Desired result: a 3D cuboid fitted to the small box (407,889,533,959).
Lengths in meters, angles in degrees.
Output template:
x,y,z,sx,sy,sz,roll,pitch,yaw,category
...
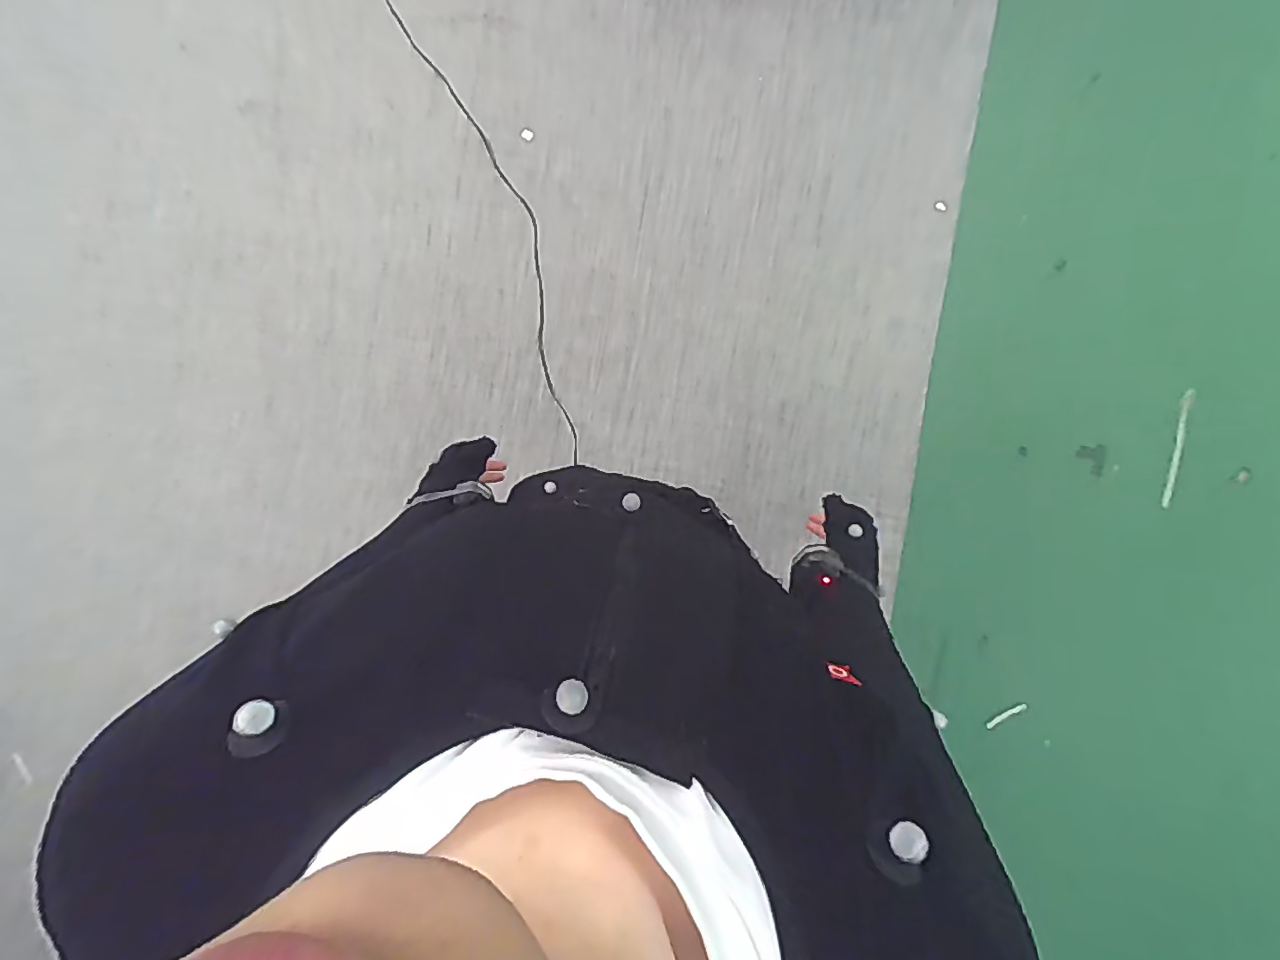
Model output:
x,y,z,sx,sy,sz,roll,pitch,yaw,category
-0.277,0.786,0.830,0.168,0.176,0.179,14,91,5,small box
